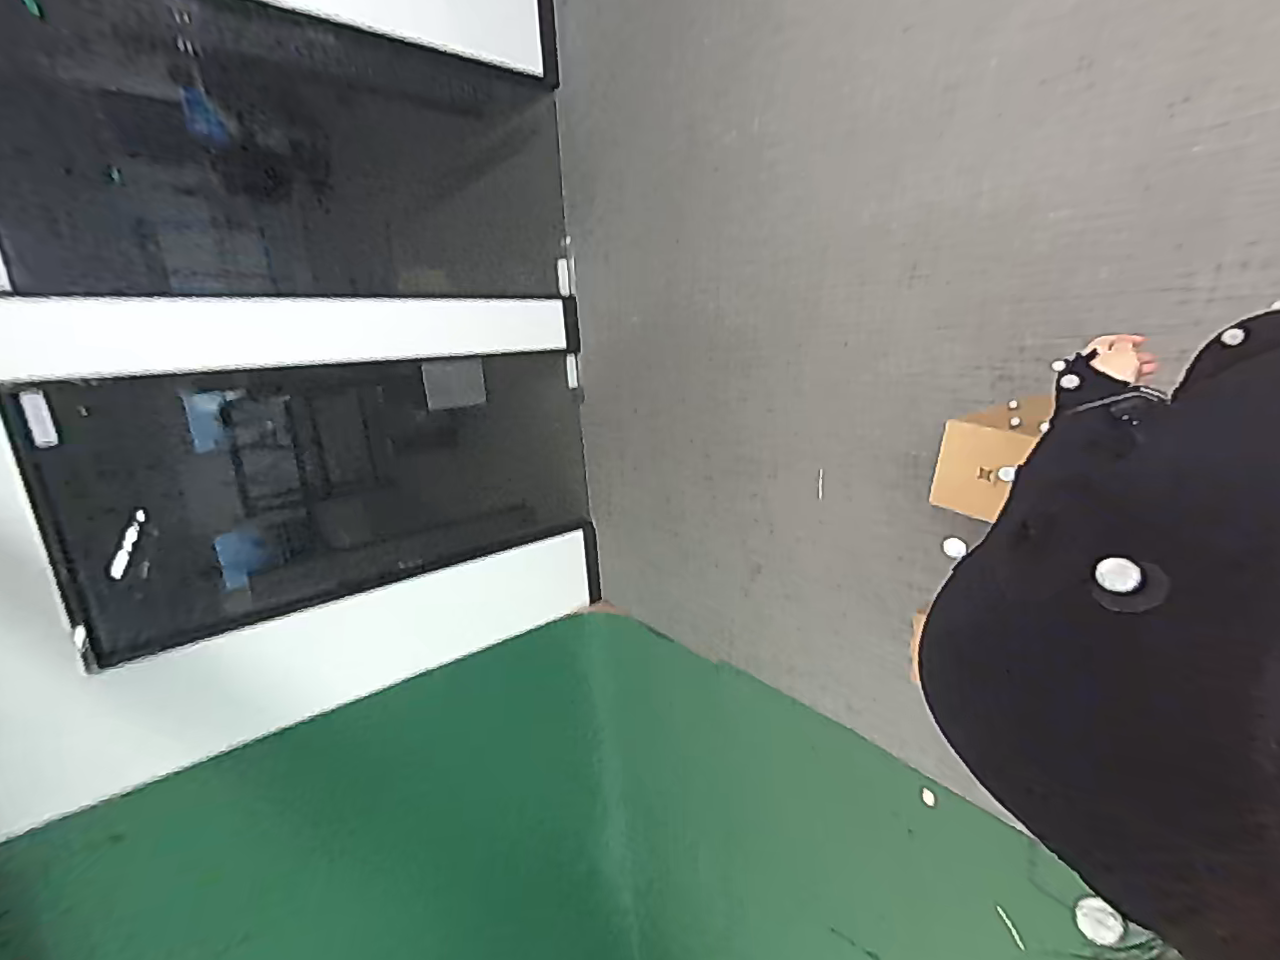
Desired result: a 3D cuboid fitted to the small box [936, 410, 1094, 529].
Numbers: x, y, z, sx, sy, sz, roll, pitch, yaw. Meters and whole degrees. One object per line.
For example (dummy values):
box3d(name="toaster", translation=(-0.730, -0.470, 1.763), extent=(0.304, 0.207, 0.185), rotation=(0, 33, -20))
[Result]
box3d(name="small box", translation=(0.684, -0.030, 0.991), extent=(0.179, 0.176, 0.168), rotation=(23, 119, 47))

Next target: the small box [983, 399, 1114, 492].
box3d(name="small box", translation=(0.807, -0.067, 1.090), extent=(0.179, 0.176, 0.168), rotation=(20, 118, 48))

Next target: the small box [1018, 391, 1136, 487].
box3d(name="small box", translation=(0.938, -0.098, 1.186), extent=(0.179, 0.176, 0.168), rotation=(22, 119, 47))
